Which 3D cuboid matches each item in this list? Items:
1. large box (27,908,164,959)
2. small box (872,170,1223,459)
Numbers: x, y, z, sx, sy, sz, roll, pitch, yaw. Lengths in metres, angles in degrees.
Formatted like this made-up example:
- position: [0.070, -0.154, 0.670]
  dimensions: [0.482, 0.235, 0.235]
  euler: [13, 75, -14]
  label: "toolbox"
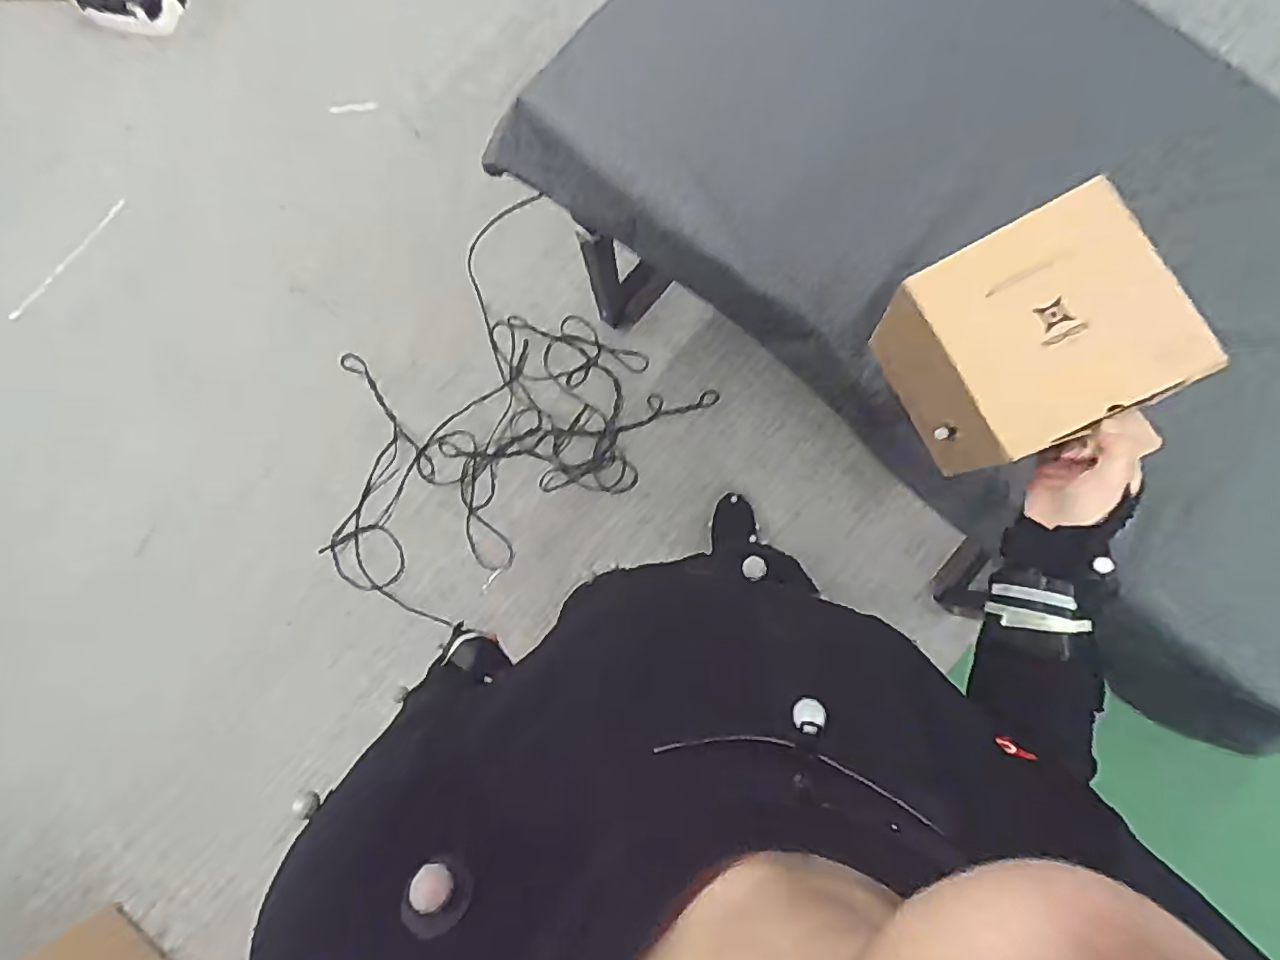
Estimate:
- position: [-1.253, 1.271, 1.159]
  dimensions: [0.408, 0.320, 0.320]
  euler: [38, 86, 7]
  label: "large box"
- position: [0.346, -0.130, 0.506]
  dimensions: [0.168, 0.176, 0.179]
  euler: [-29, 79, 10]
  label: "small box"
